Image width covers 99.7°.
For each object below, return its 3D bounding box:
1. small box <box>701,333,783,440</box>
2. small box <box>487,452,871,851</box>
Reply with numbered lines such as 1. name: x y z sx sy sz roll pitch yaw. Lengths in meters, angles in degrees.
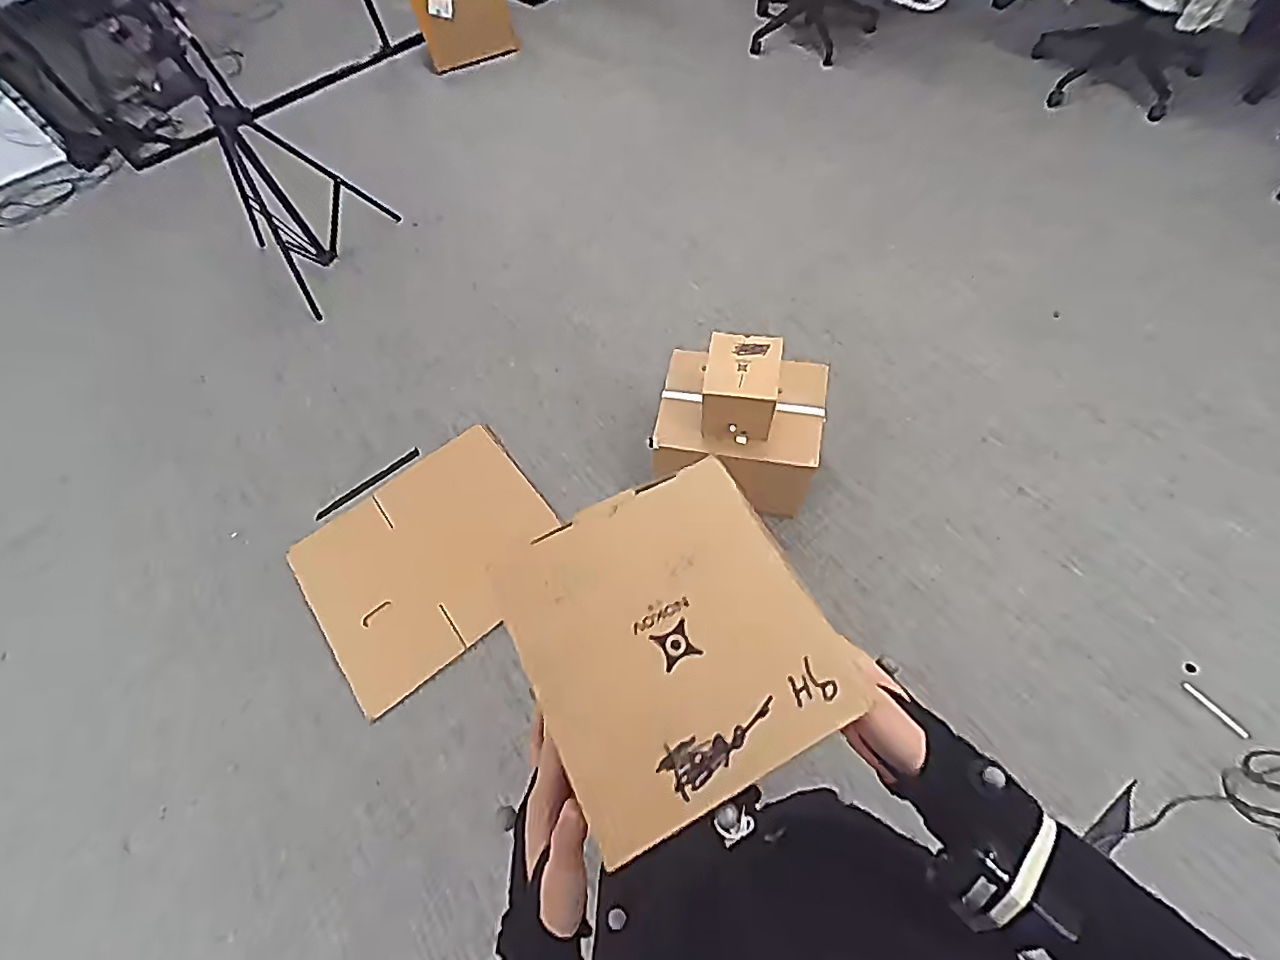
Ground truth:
1. small box: 0.237 -0.218 1.279 0.168 0.176 0.179 7 65 10
2. small box: 0.017 0.117 0.382 0.168 0.176 0.179 -26 66 -10
